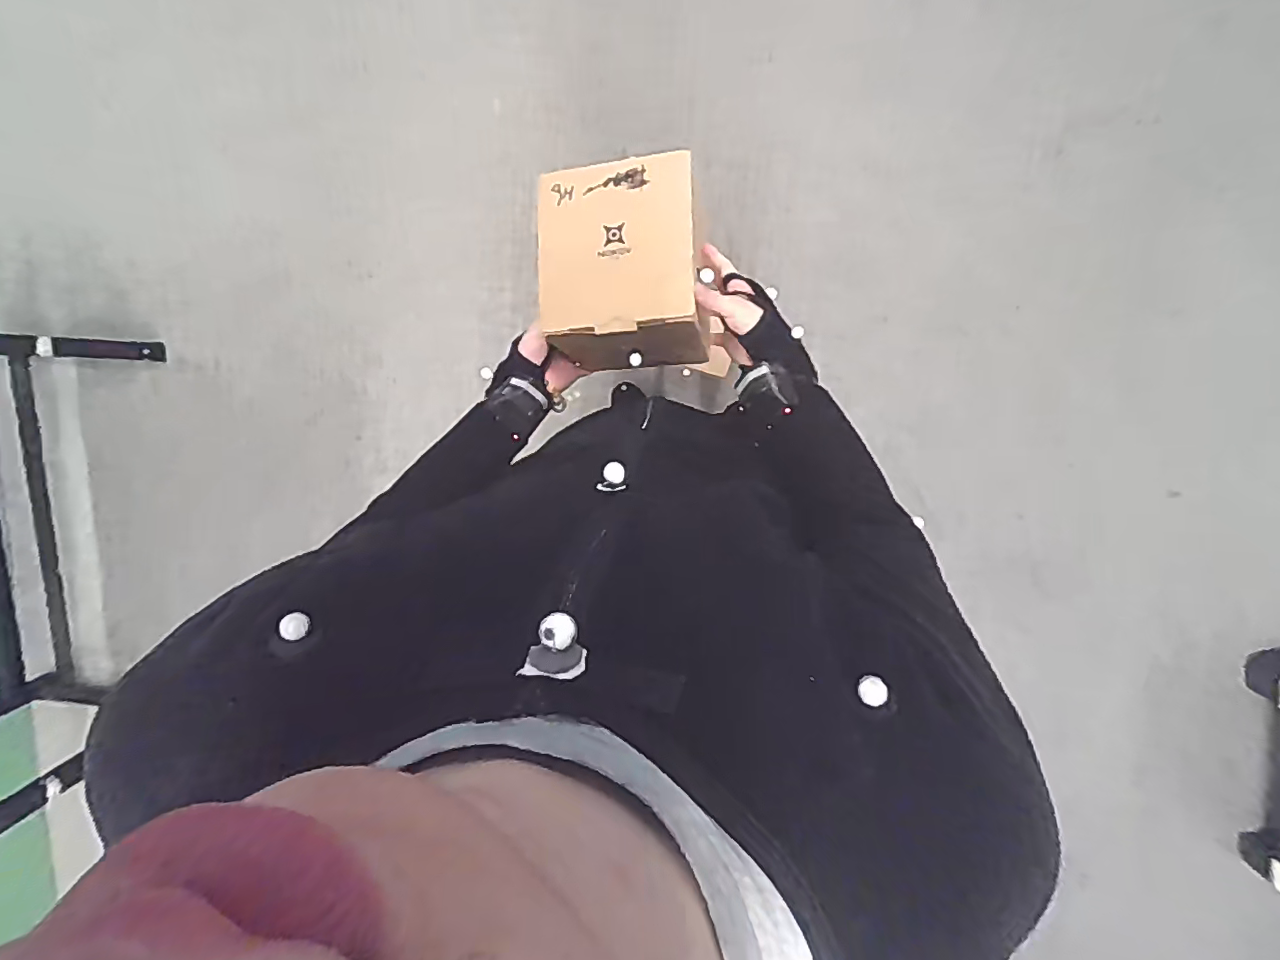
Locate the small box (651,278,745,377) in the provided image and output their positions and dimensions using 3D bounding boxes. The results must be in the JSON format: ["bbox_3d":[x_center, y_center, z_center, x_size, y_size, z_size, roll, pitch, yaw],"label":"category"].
[{"bbox_3d":[0.132,-0.347,1.258,0.168,0.176,0.179,18,102,2],"label":"small box"}]
